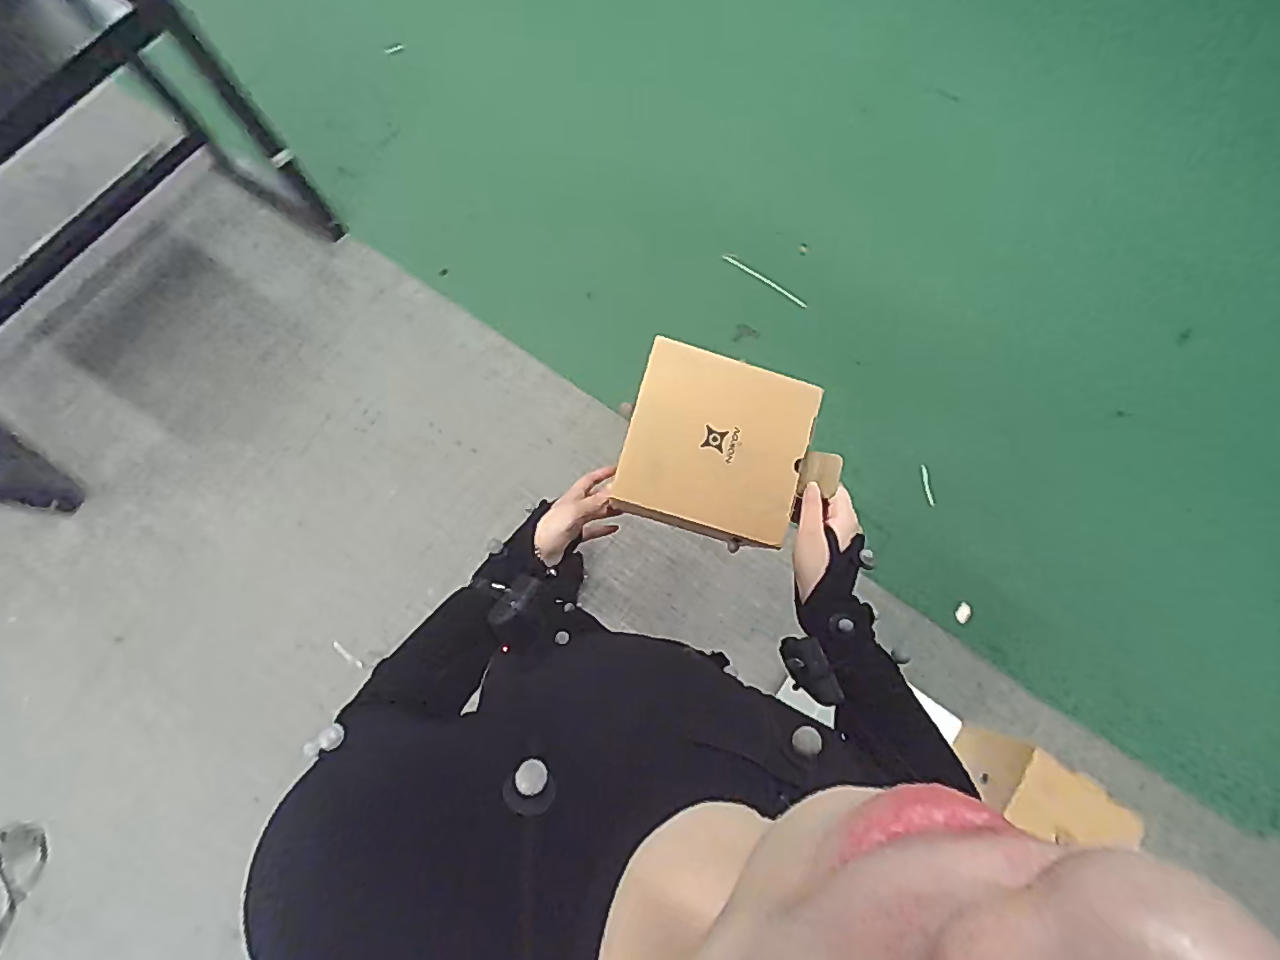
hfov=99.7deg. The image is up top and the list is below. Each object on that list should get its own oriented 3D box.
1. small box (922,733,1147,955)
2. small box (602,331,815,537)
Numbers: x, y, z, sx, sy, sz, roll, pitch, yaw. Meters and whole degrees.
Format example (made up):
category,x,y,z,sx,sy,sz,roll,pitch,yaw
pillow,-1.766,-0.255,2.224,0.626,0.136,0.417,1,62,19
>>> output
category,x,y,z,sx,sy,sz,roll,pitch,yaw
small box,0.546,0.496,0.774,0.168,0.176,0.179,36,78,8
small box,0.061,-0.035,0.594,0.179,0.176,0.168,16,83,-4
